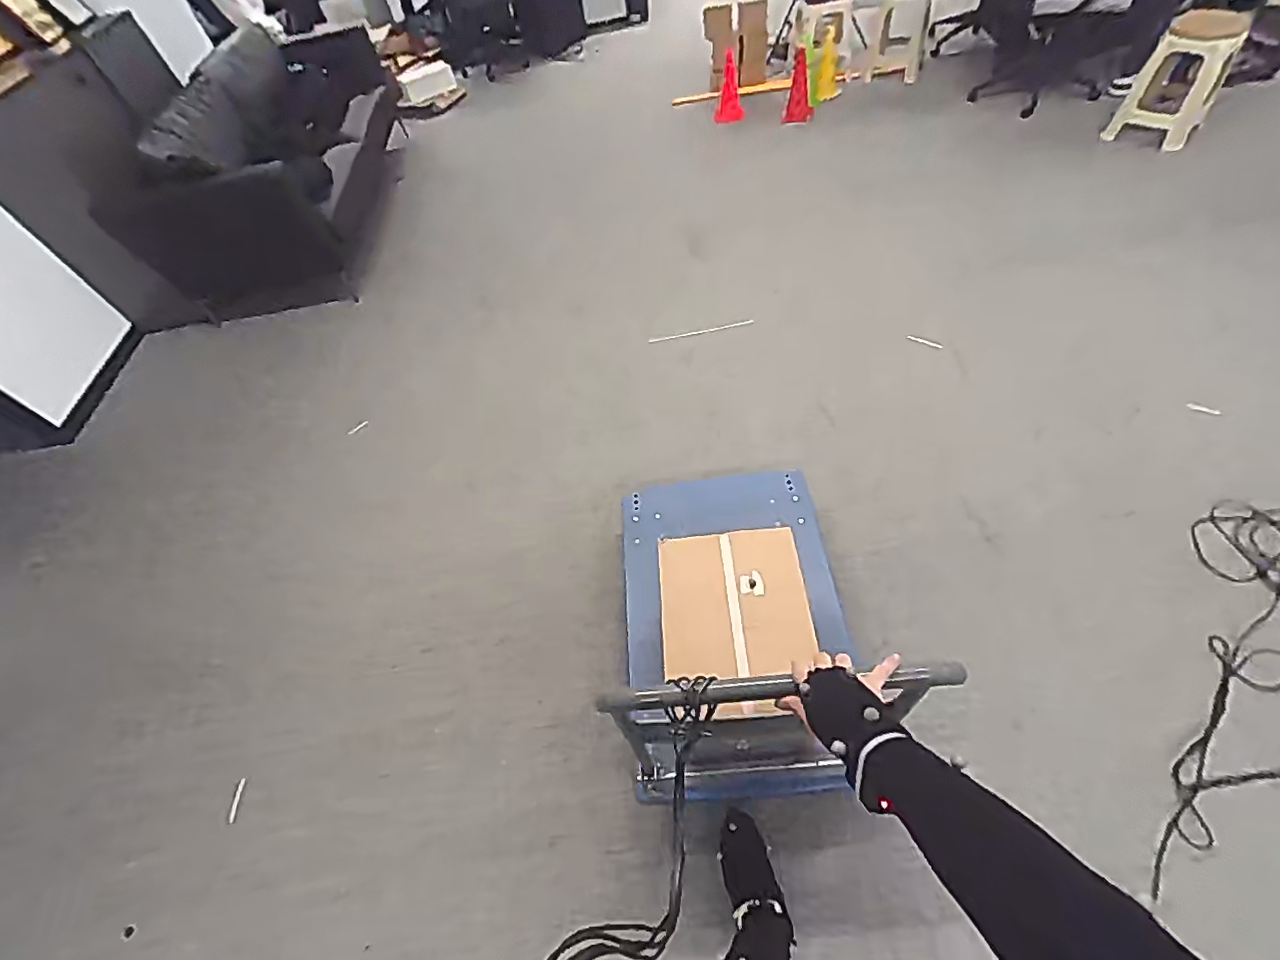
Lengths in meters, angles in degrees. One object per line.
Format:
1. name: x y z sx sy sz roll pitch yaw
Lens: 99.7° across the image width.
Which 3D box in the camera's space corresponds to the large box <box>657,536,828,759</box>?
1. large box: 0.221 0.395 1.270 0.320 0.320 0.408 -6 51 5
